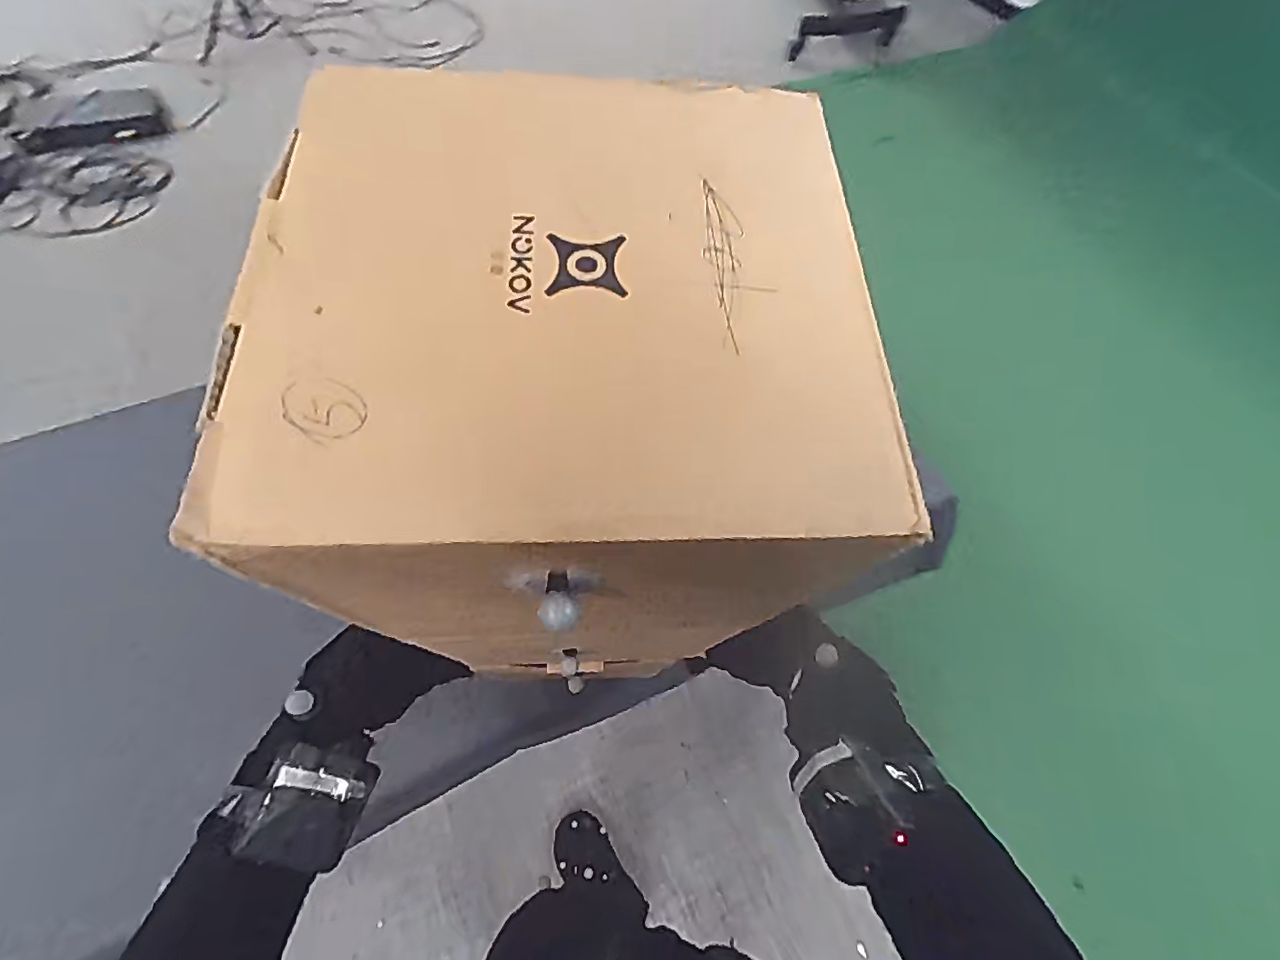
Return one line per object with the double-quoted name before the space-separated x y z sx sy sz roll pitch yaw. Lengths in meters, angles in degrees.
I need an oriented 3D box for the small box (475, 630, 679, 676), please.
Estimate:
"small box" -0.056 0.098 0.531 0.168 0.176 0.179 -1 68 -5
